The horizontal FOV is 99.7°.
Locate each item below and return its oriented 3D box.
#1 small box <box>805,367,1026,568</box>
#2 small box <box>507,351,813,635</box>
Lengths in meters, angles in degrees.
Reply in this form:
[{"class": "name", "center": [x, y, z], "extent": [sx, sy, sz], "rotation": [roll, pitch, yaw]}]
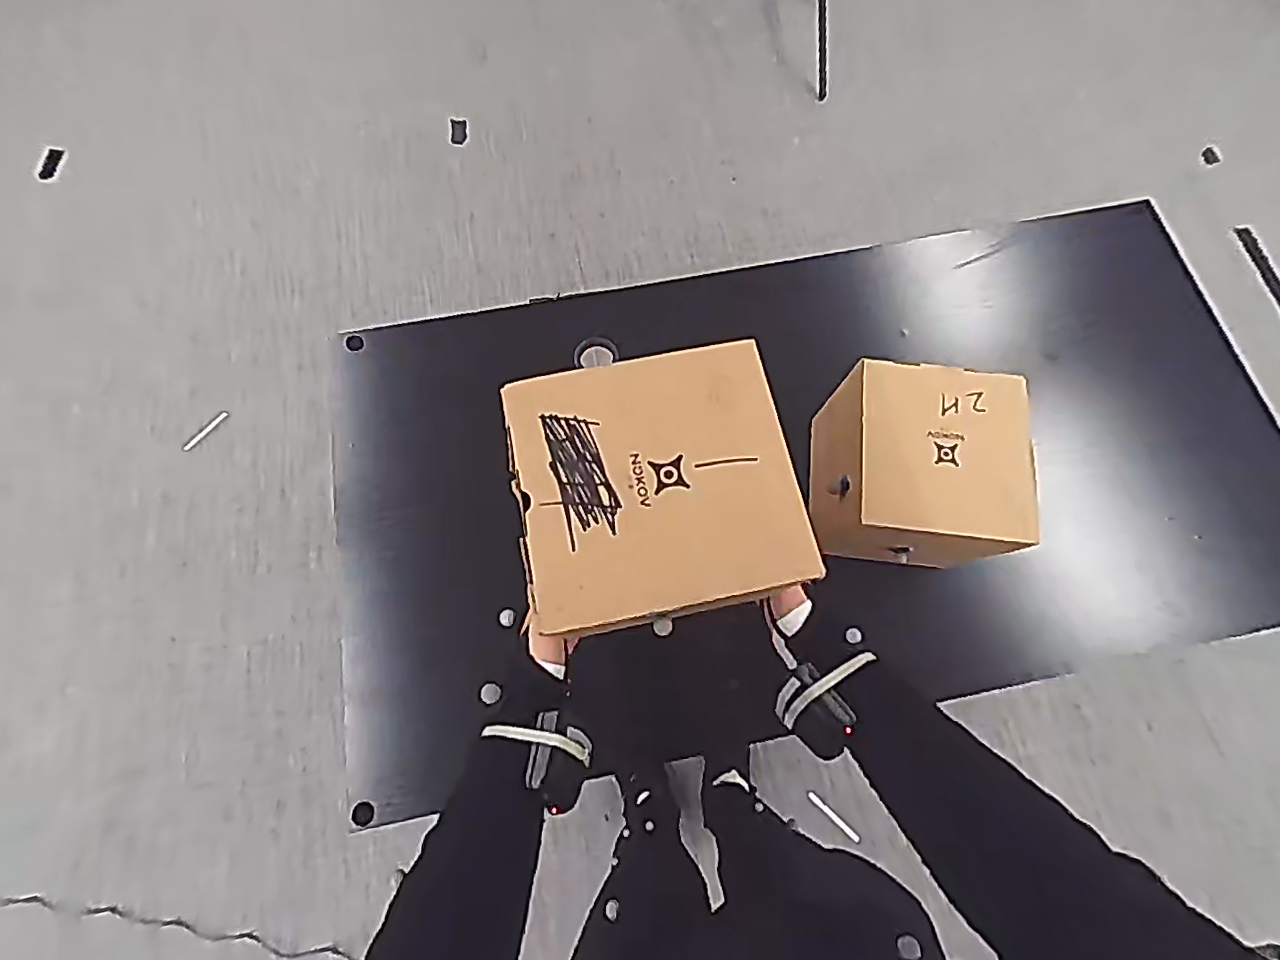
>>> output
[{"class": "small box", "center": [0.292, -0.003, 0.609], "extent": [0.168, 0.176, 0.179], "rotation": [7, 73, 2]}, {"class": "small box", "center": [0.009, 0.025, 0.427], "extent": [0.179, 0.176, 0.168], "rotation": [-11, 74, -4]}]
